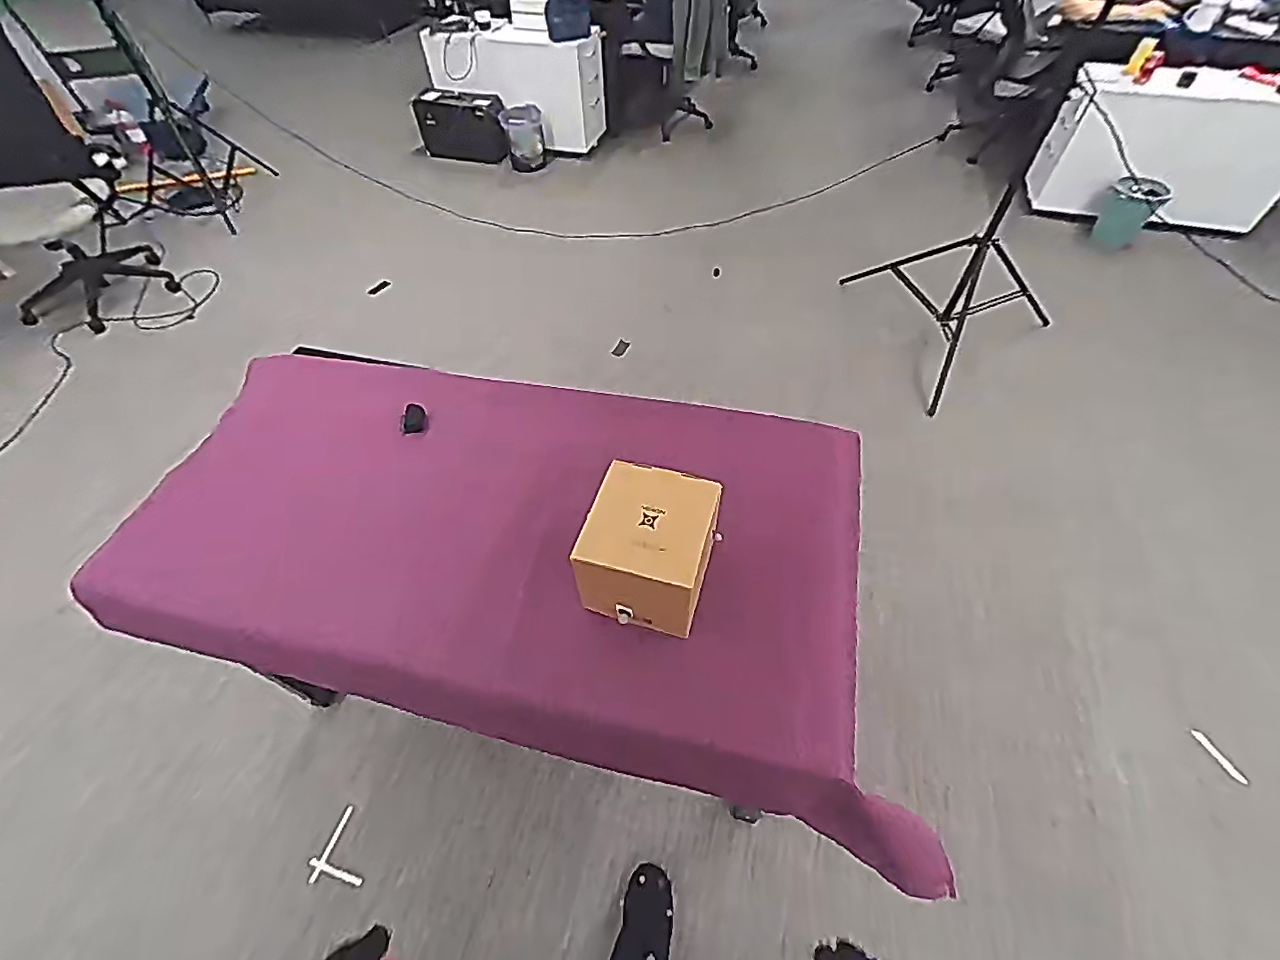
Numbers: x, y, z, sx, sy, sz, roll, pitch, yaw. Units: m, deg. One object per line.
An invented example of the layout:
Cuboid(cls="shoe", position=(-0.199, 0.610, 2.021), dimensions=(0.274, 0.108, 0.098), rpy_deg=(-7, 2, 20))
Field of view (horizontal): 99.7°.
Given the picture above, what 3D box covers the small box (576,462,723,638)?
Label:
Cuboid(cls="small box", position=(0.019, 0.105, 0.799), dimensions=(0.168, 0.176, 0.179), rpy_deg=(12, 54, 12))
